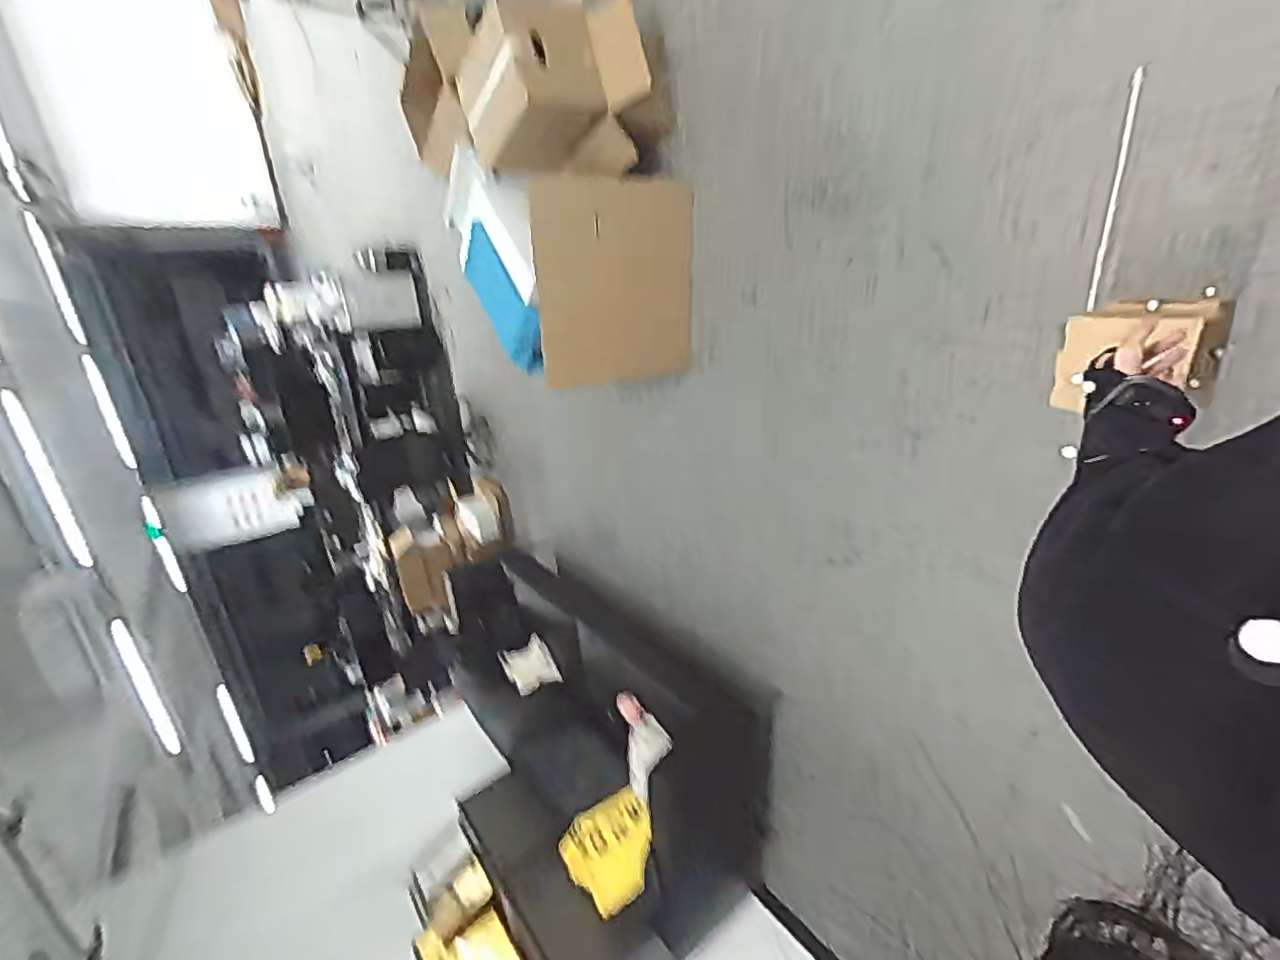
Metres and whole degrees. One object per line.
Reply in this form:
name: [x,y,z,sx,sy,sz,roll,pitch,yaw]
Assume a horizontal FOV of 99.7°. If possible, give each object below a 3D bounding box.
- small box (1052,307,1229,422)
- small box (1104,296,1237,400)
small box: [0.878,-0.211,0.954,0.179,0.176,0.168,23,123,49]
small box: [1.006,-0.260,1.044,0.168,0.176,0.179,21,122,50]
